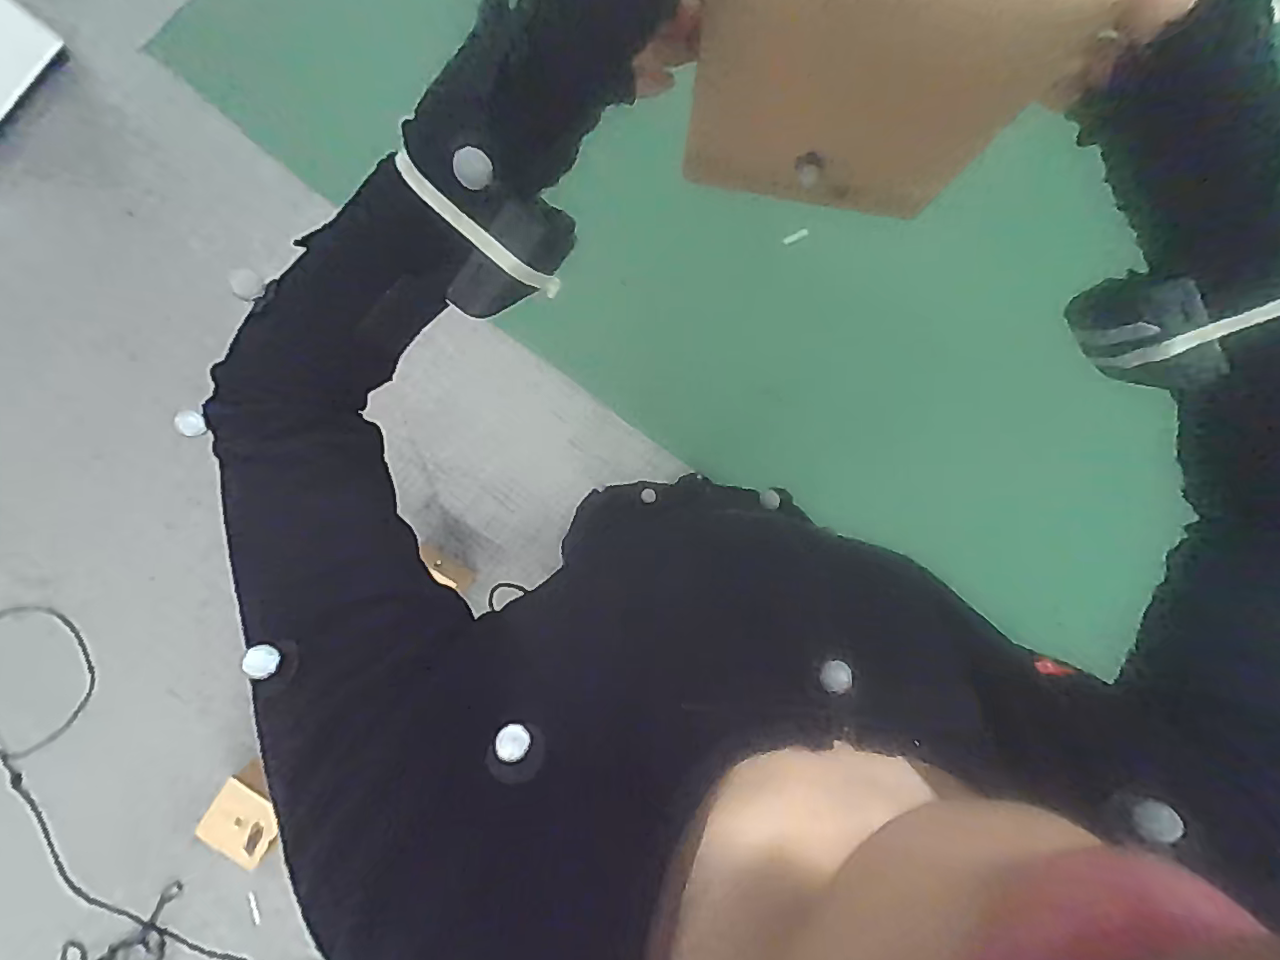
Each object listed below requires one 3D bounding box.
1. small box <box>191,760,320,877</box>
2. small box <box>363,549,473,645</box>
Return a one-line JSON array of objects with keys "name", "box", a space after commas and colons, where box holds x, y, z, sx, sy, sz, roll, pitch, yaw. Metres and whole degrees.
[{"name": "small box", "box": [-0.960, 0.840, 1.374, 0.179, 0.176, 0.168, 33, 89, 1]}, {"name": "small box", "box": [-0.558, 0.290, 1.387, 0.179, 0.176, 0.168, 31, 88, 0]}]
